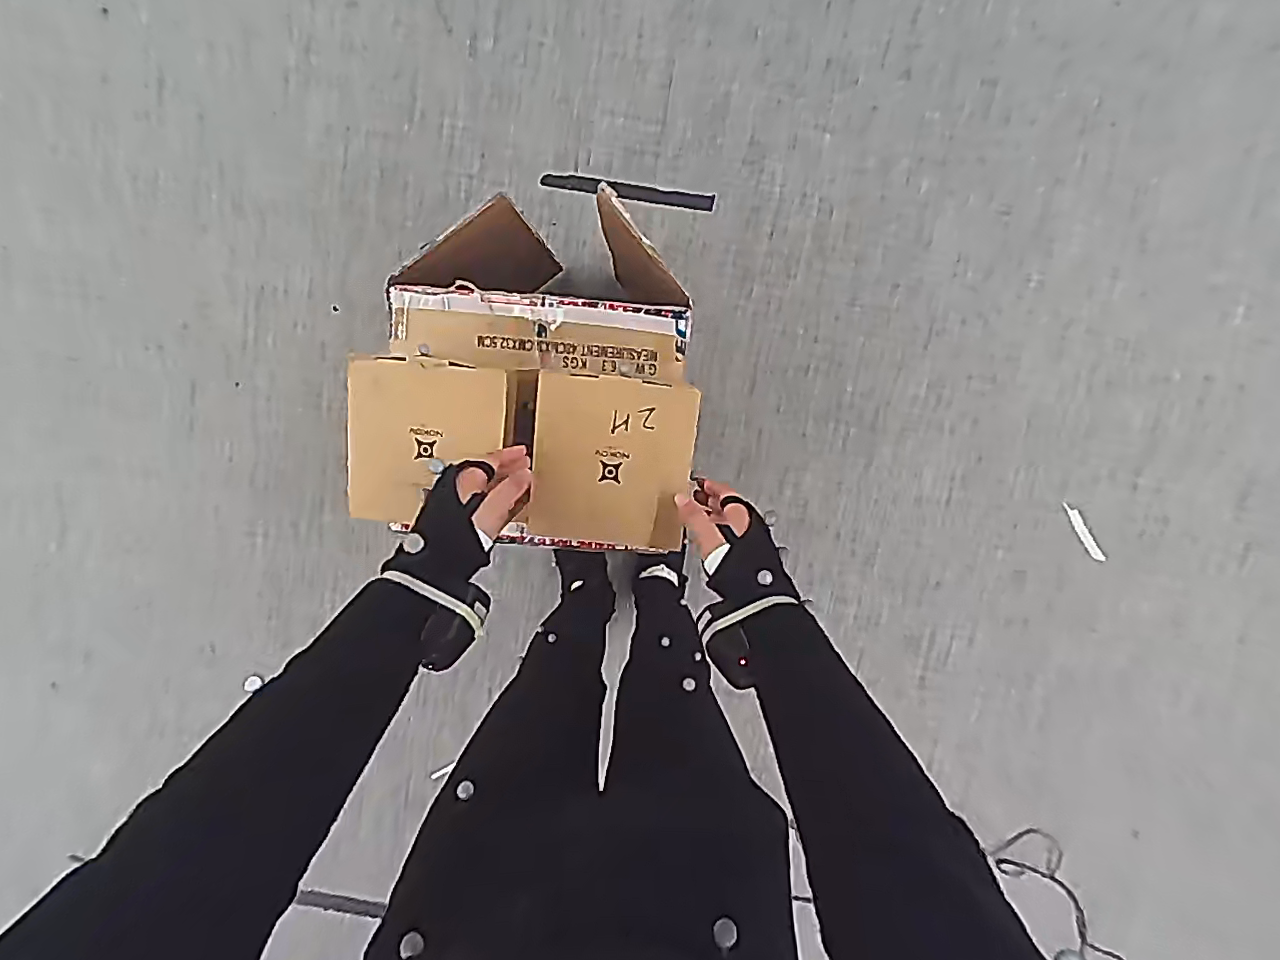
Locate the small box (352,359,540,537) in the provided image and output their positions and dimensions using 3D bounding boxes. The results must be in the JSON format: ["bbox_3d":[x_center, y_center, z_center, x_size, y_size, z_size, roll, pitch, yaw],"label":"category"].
[{"bbox_3d":[-0.217,-0.047,0.644,0.168,0.176,0.179,6,103,2],"label":"small box"}]

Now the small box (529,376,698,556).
[{"bbox_3d":[-0.029,-0.027,0.643,0.168,0.176,0.179,6,101,-1],"label":"small box"}]
